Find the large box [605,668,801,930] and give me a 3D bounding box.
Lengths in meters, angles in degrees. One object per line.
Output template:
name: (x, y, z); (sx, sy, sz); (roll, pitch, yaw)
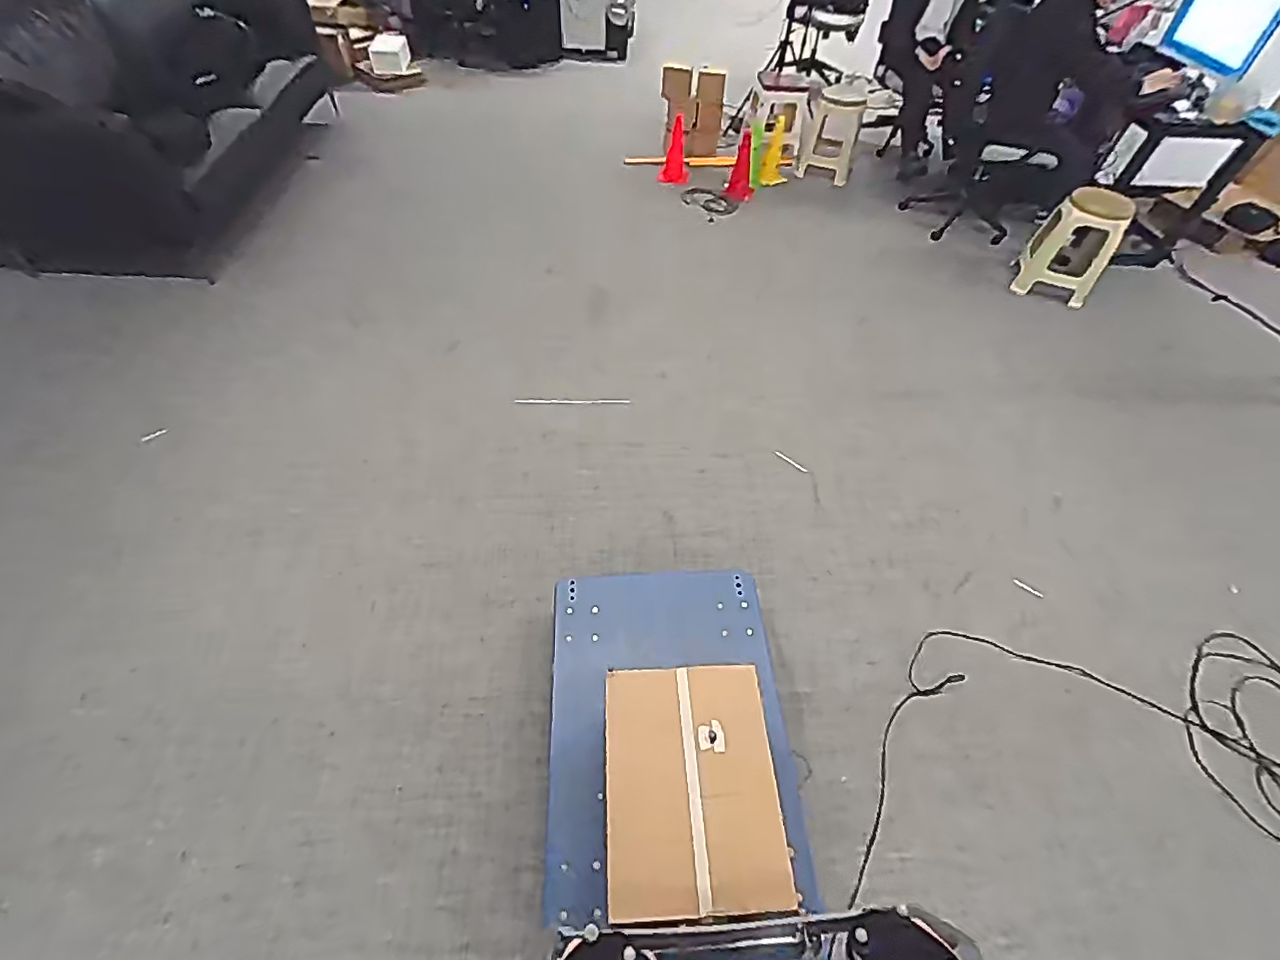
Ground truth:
large box: (0.093, 0.644, 1.103); (0.320, 0.320, 0.408); (-1, 51, -4)
